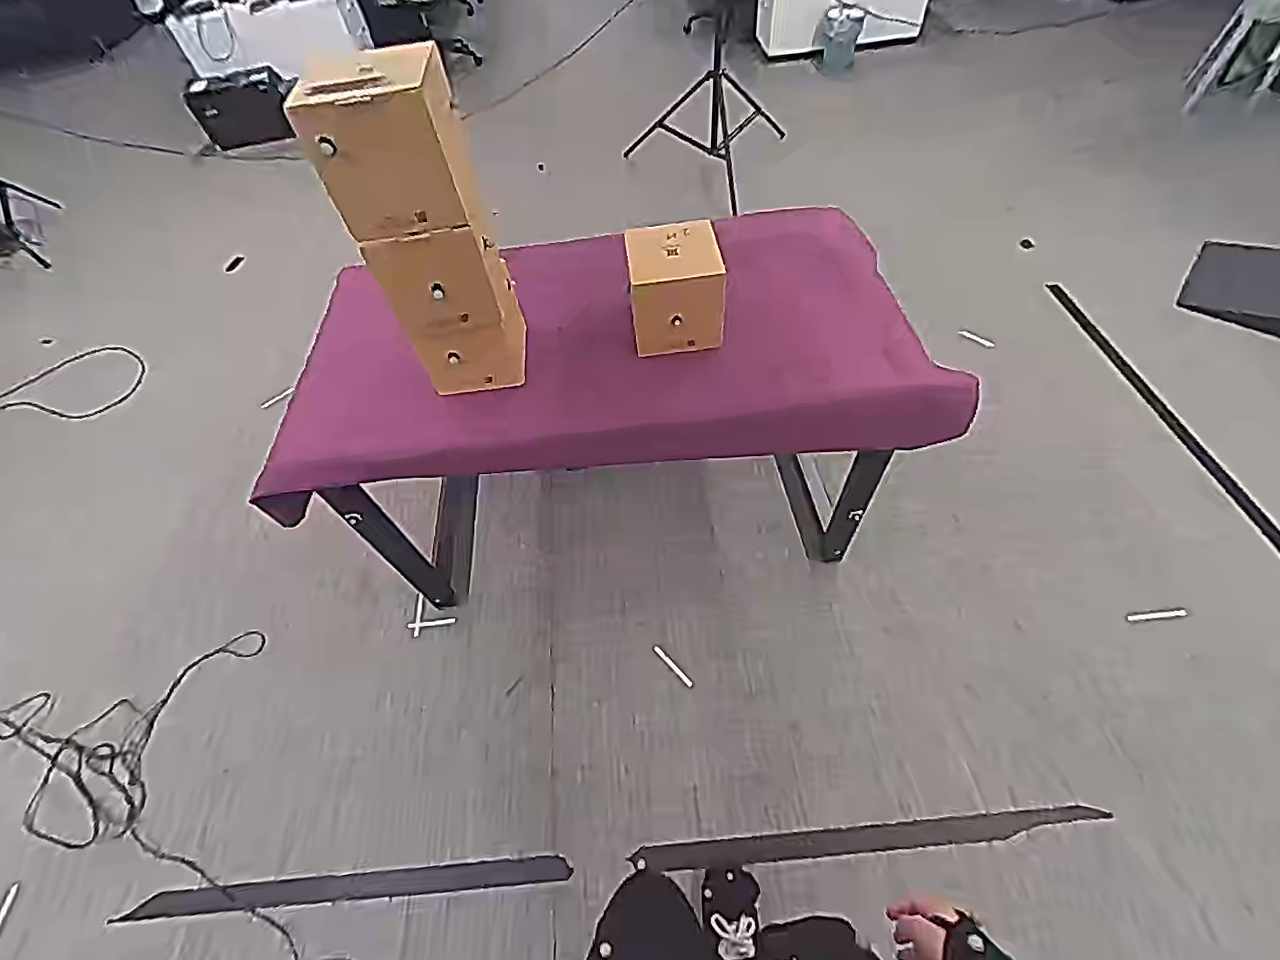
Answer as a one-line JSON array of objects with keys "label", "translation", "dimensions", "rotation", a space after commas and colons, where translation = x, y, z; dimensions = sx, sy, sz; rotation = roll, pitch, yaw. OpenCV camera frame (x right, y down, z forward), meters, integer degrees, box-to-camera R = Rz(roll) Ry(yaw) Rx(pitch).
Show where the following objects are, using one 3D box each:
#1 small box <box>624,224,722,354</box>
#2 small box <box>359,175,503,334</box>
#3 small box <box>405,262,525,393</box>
[{"label": "small box", "translation": [0.062, -0.359, 1.041], "dimensions": [0.168, 0.176, 0.179], "rotation": [-7, 55, 0]}, {"label": "small box", "translation": [-0.326, -0.356, 0.878], "dimensions": [0.168, 0.176, 0.179], "rotation": [-11, 55, -3]}, {"label": "small box", "translation": [-0.320, -0.280, 1.024], "dimensions": [0.168, 0.176, 0.179], "rotation": [-7, 55, 0]}]
